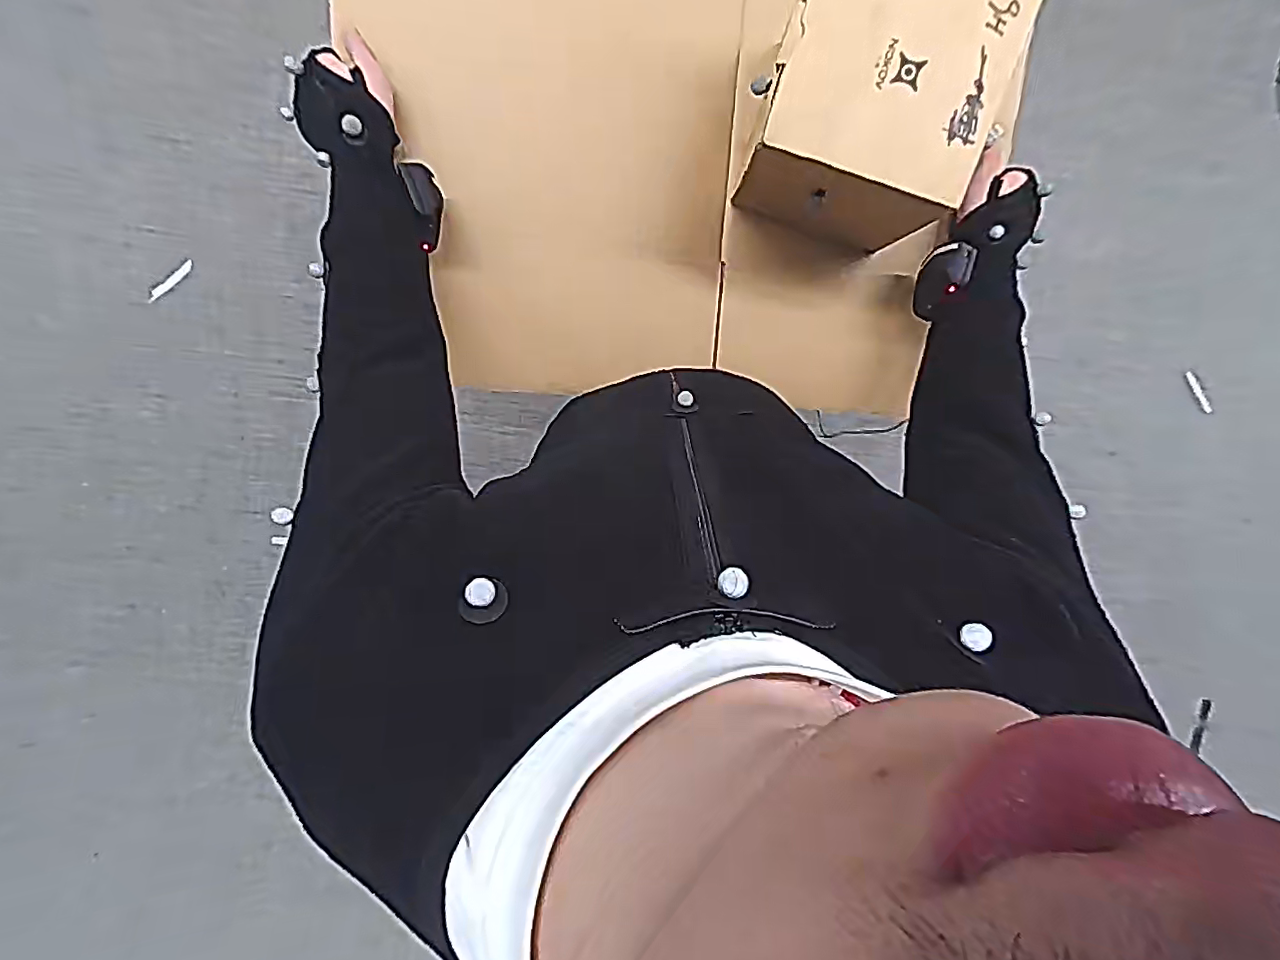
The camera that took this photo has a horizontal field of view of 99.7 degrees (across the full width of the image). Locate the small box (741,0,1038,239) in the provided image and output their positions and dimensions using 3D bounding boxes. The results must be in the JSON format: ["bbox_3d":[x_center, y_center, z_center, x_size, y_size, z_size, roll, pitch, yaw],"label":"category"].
[{"bbox_3d":[0.207,-0.347,0.507,0.179,0.176,0.168,18,102,-1],"label":"small box"}]
